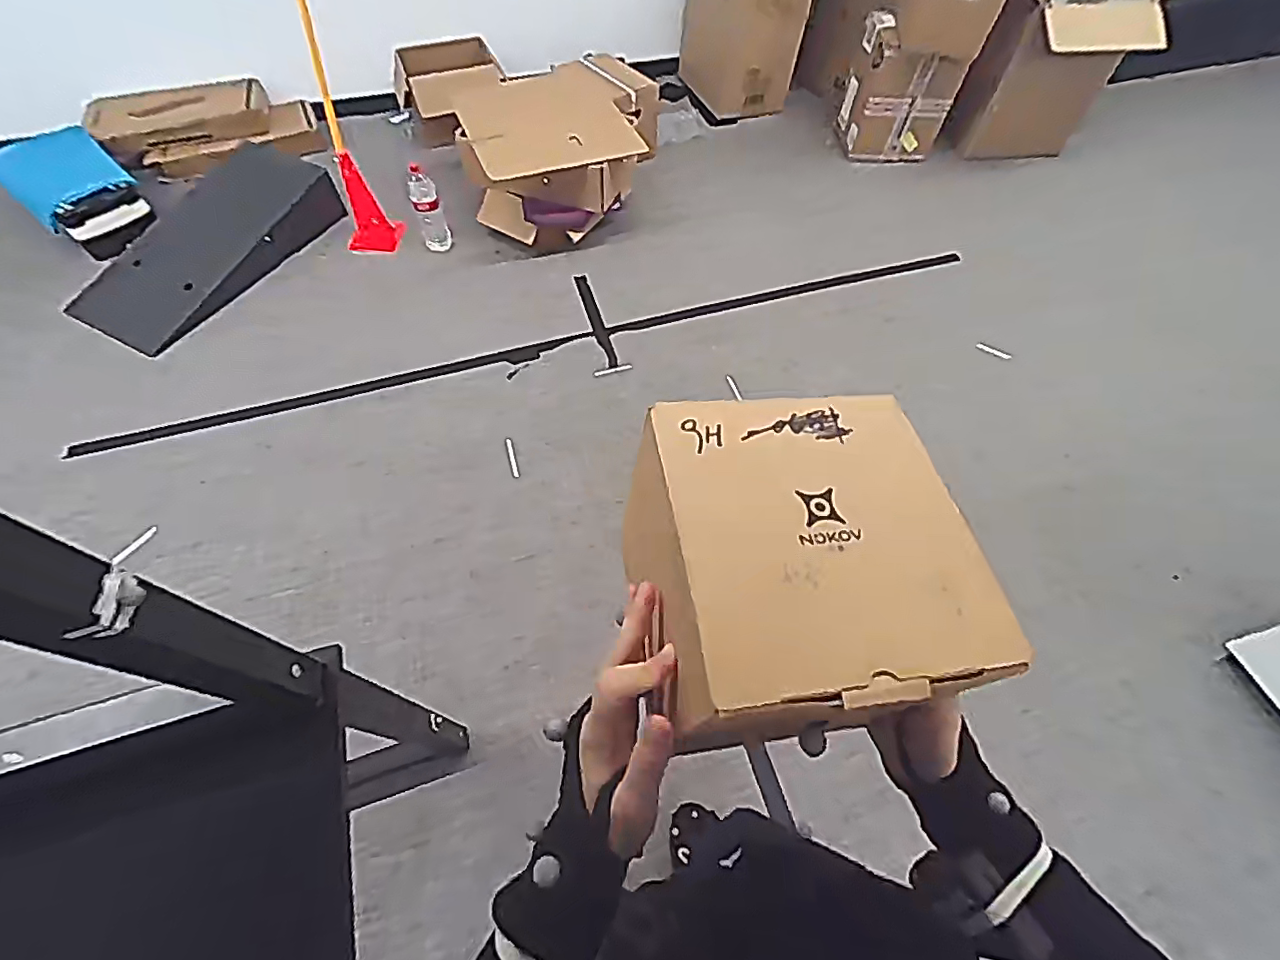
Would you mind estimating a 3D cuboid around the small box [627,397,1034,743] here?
[{"bbox_3d":[0.090,0.066,0.356,0.168,0.176,0.179,-3,59,-12],"label":"small box"}]
